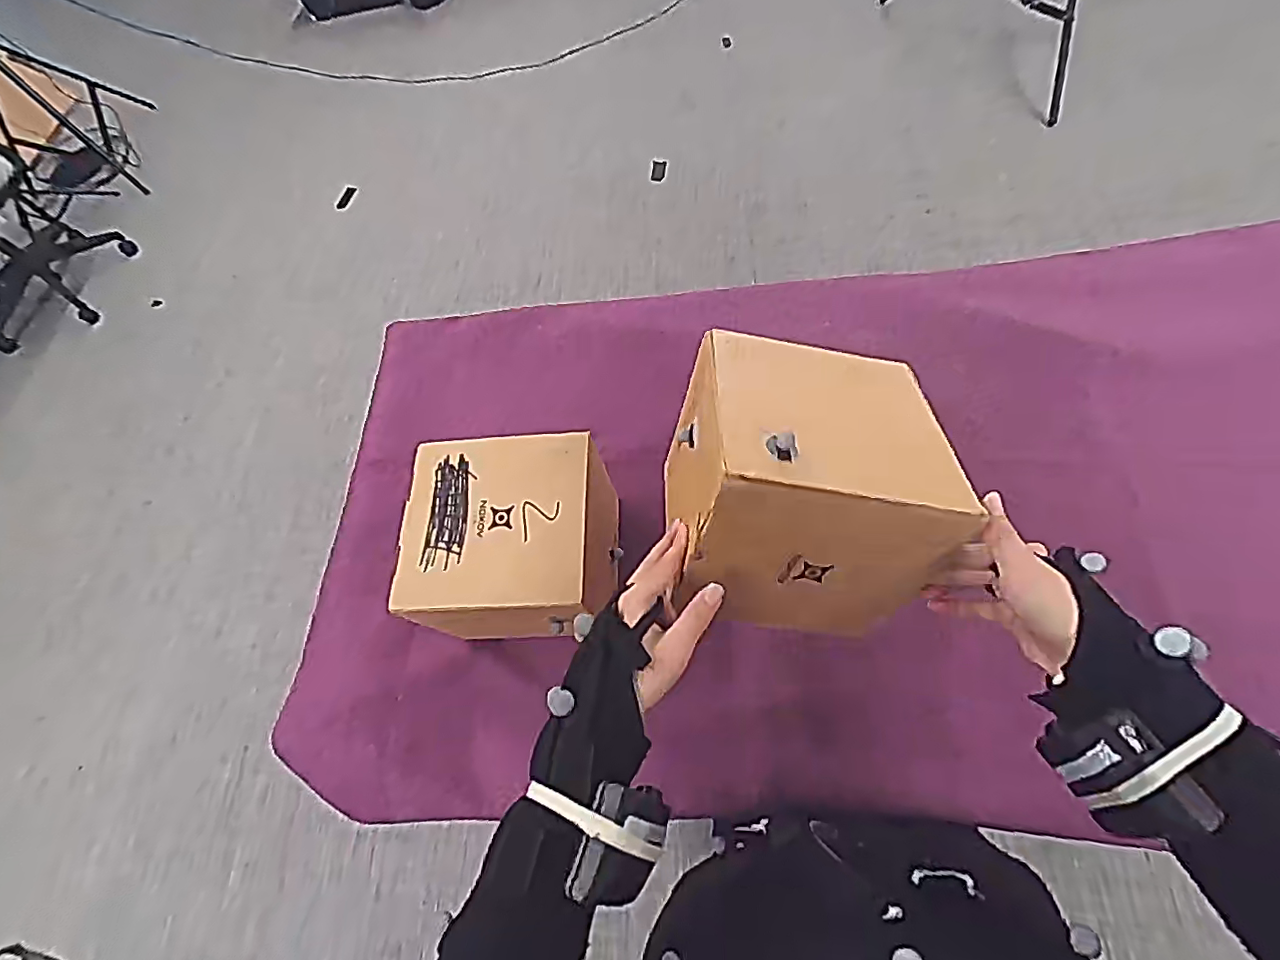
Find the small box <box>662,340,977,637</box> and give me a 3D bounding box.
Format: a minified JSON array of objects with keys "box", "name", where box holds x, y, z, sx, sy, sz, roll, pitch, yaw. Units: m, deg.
[{"box":[0.119,0.005,0.444,0.179,0.168,0.176,9,44,-5],"name":"small box"}]
